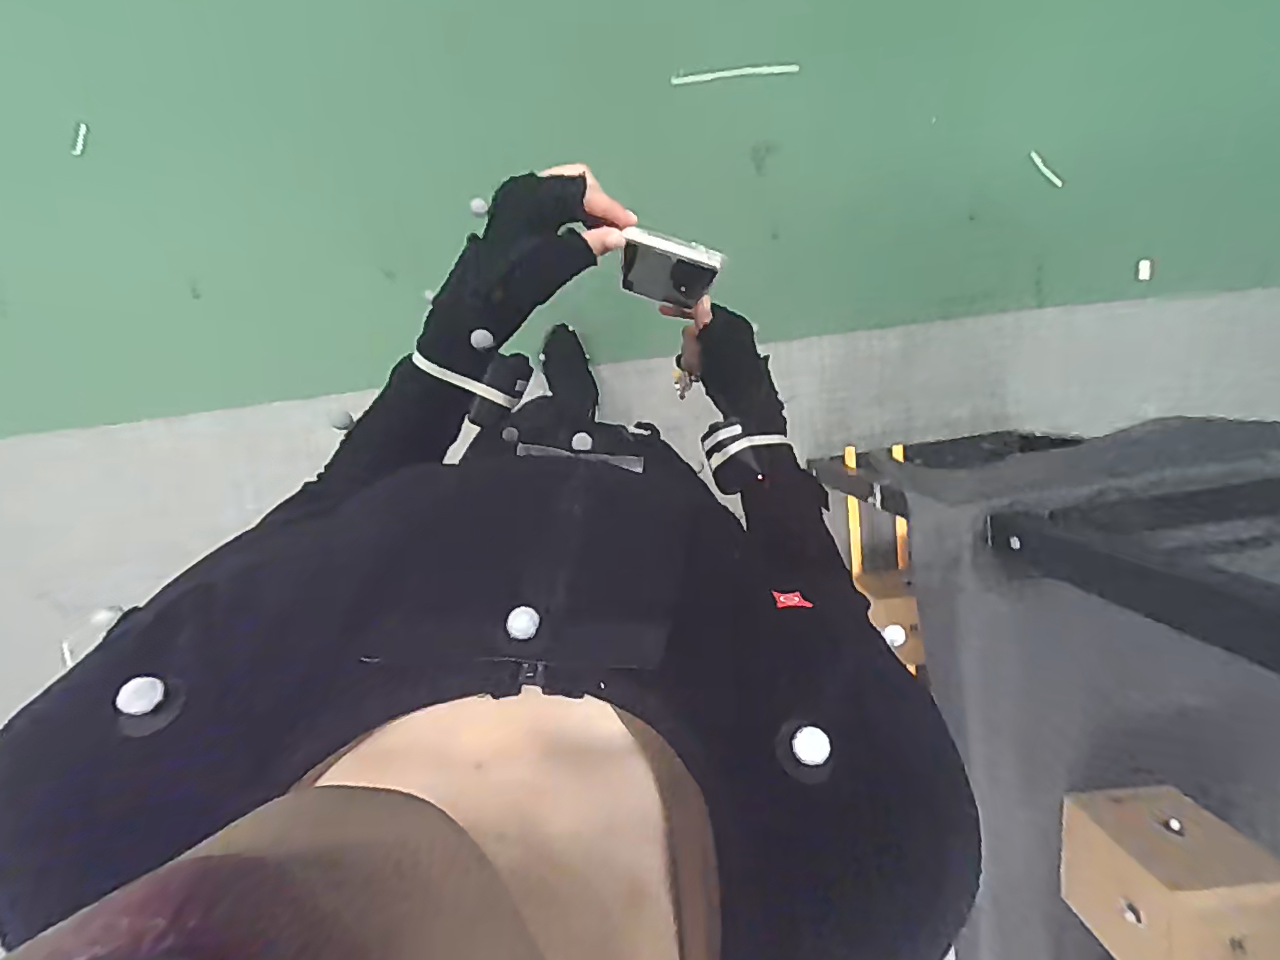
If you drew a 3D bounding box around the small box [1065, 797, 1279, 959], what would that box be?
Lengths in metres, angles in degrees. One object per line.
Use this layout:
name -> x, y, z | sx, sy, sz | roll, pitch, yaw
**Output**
small box -> 0.720, 0.560, 0.732 | 0.168, 0.176, 0.179 | -5, 98, 0
